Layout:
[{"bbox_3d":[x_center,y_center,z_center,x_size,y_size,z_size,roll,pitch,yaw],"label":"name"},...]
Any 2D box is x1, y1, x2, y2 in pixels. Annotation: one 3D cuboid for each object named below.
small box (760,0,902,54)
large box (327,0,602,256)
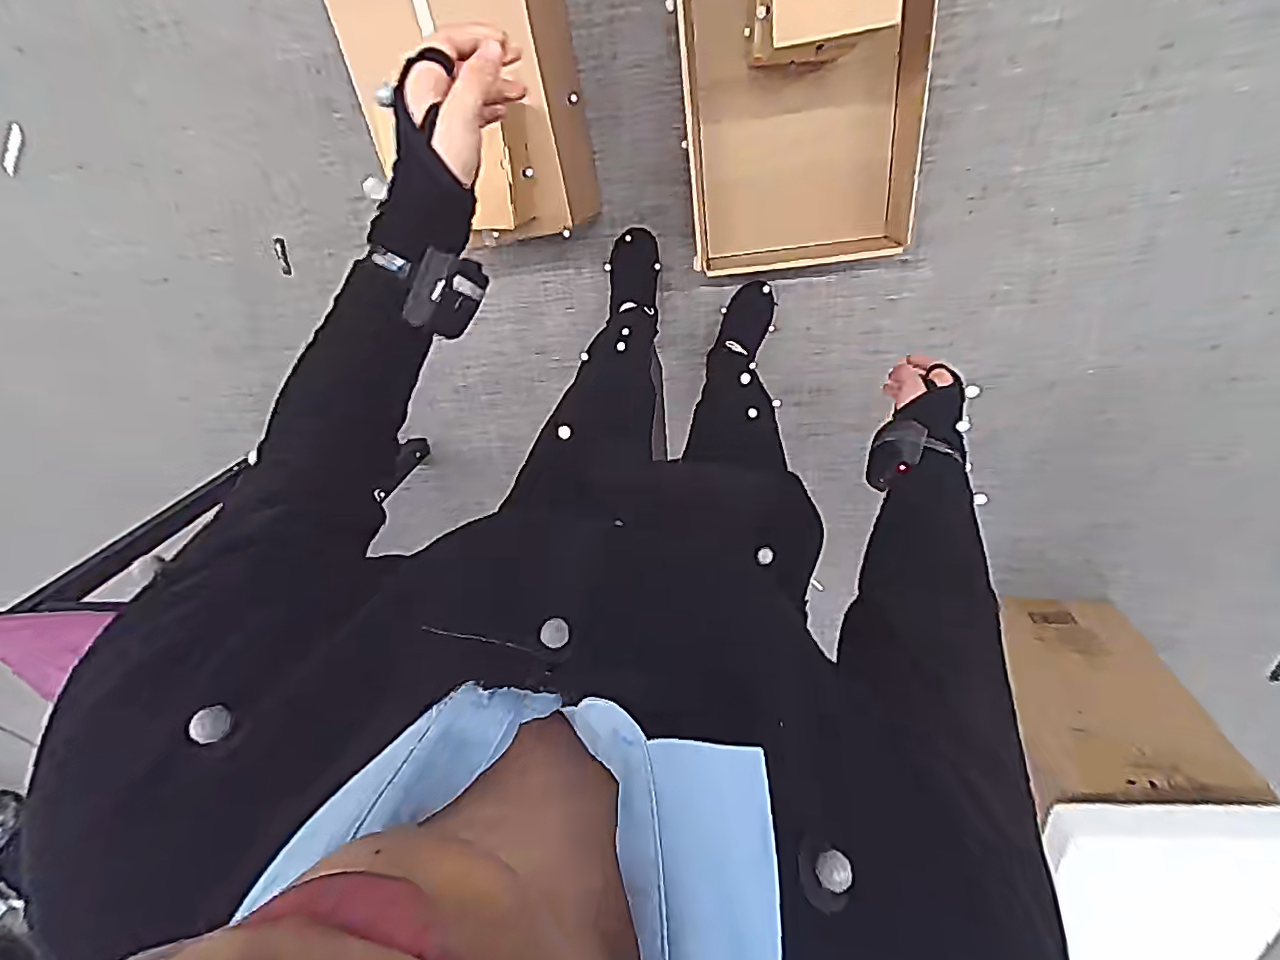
[{"bbox_3d":[0.256,-0.706,0.739,0.168,0.176,0.179,-4,122,9],"label":"small box"},{"bbox_3d":[-0.278,-0.676,1.002,0.320,0.320,0.408,-5,121,11],"label":"large box"}]
